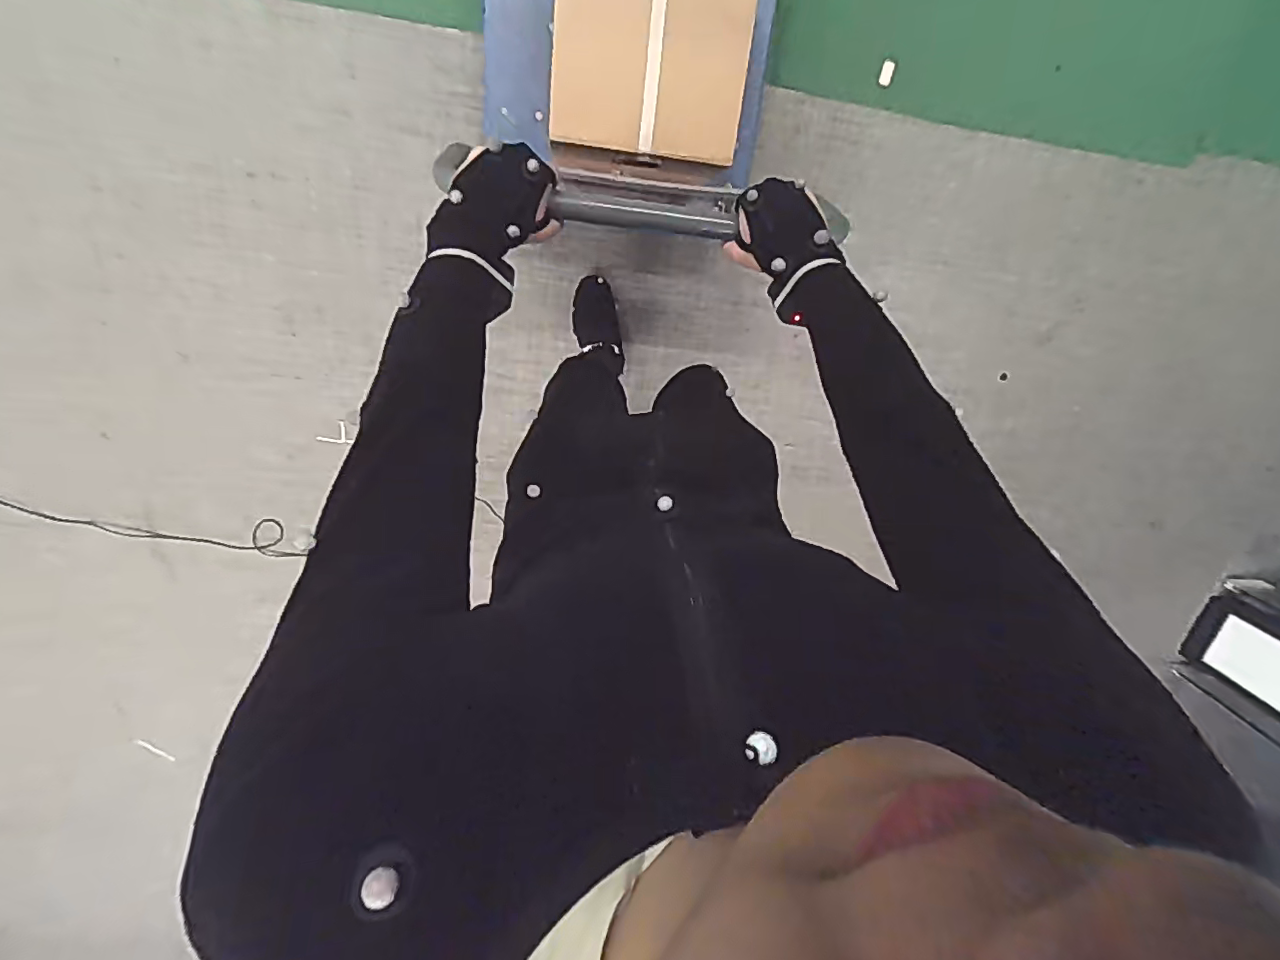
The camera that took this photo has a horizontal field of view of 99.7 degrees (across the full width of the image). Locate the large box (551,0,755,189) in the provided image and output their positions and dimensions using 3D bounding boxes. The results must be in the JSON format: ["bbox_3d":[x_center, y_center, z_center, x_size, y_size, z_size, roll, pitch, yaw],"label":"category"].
[{"bbox_3d":[0.011,-0.780,0.975,0.320,0.320,0.408,4,111,-8],"label":"large box"}]
